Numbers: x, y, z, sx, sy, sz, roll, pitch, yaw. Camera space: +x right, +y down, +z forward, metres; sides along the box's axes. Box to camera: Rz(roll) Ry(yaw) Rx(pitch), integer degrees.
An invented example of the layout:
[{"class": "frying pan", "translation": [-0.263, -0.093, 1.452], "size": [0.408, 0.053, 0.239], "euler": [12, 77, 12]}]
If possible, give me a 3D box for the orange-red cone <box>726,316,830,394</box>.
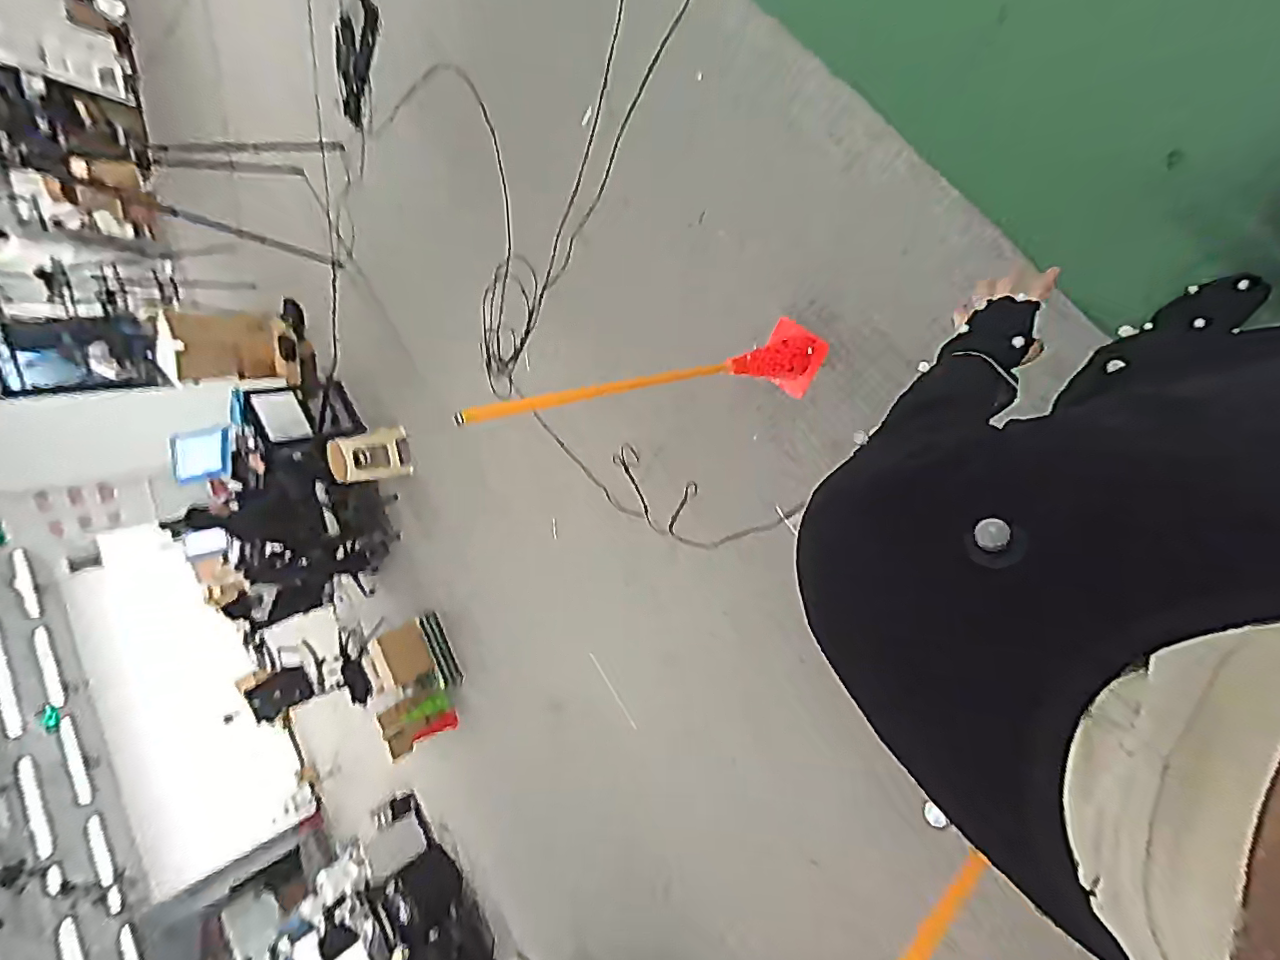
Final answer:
[{"class": "orange-red cone", "translation": [0.377, -0.368, 1.633], "size": [0.199, 0.360, 0.198], "euler": [45, 130, 26]}]
